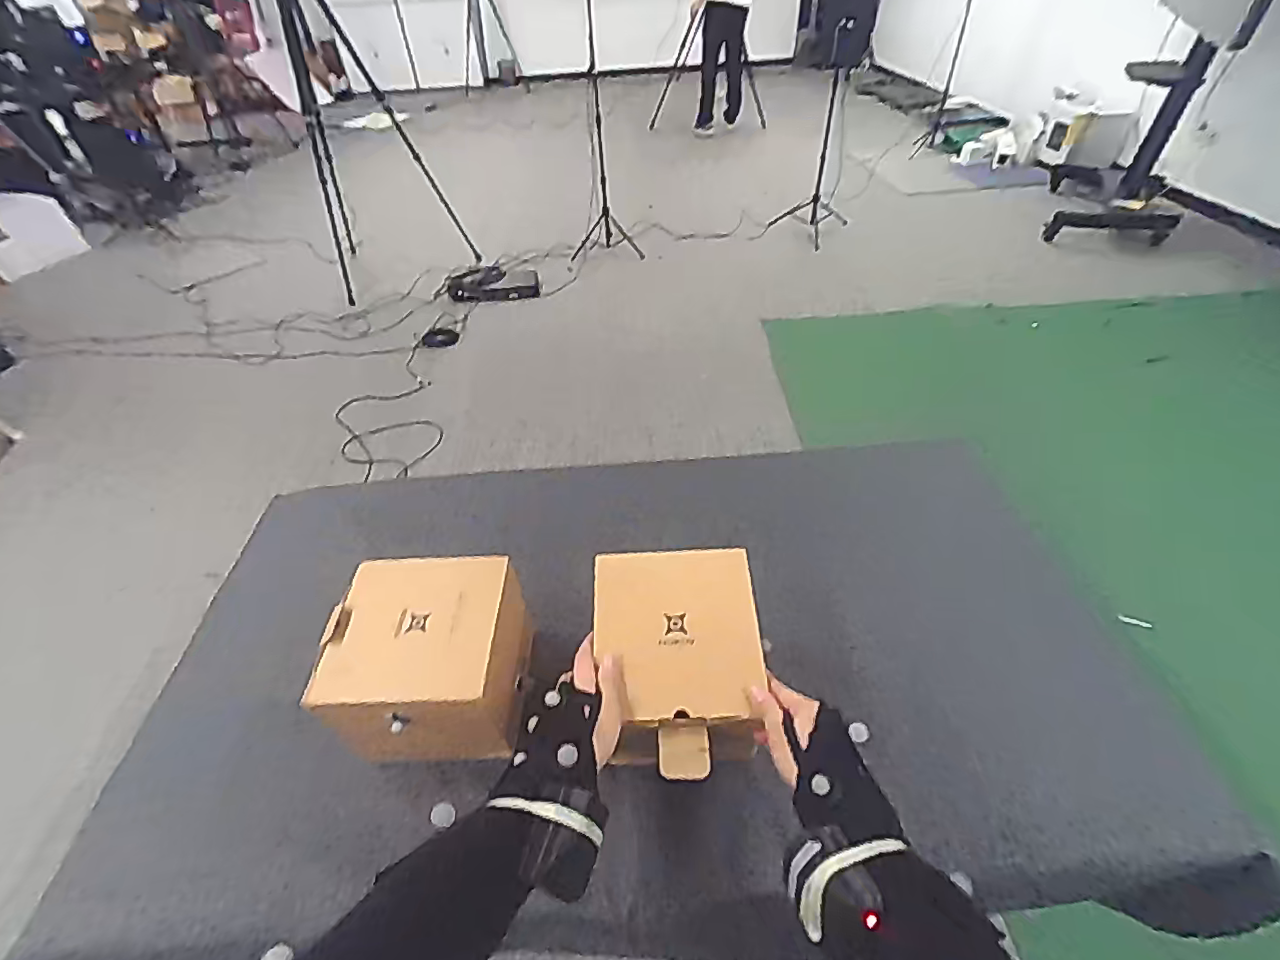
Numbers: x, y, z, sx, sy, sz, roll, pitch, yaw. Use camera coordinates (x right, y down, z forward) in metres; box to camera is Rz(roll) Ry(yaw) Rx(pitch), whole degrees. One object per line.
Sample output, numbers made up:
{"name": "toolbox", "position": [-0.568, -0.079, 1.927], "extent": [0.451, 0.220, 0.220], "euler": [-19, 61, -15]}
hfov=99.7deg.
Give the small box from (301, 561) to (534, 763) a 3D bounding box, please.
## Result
{"name": "small box", "position": [-0.231, 0.209, 0.617], "extent": [0.179, 0.176, 0.168], "euler": [-1, 45, 1]}
